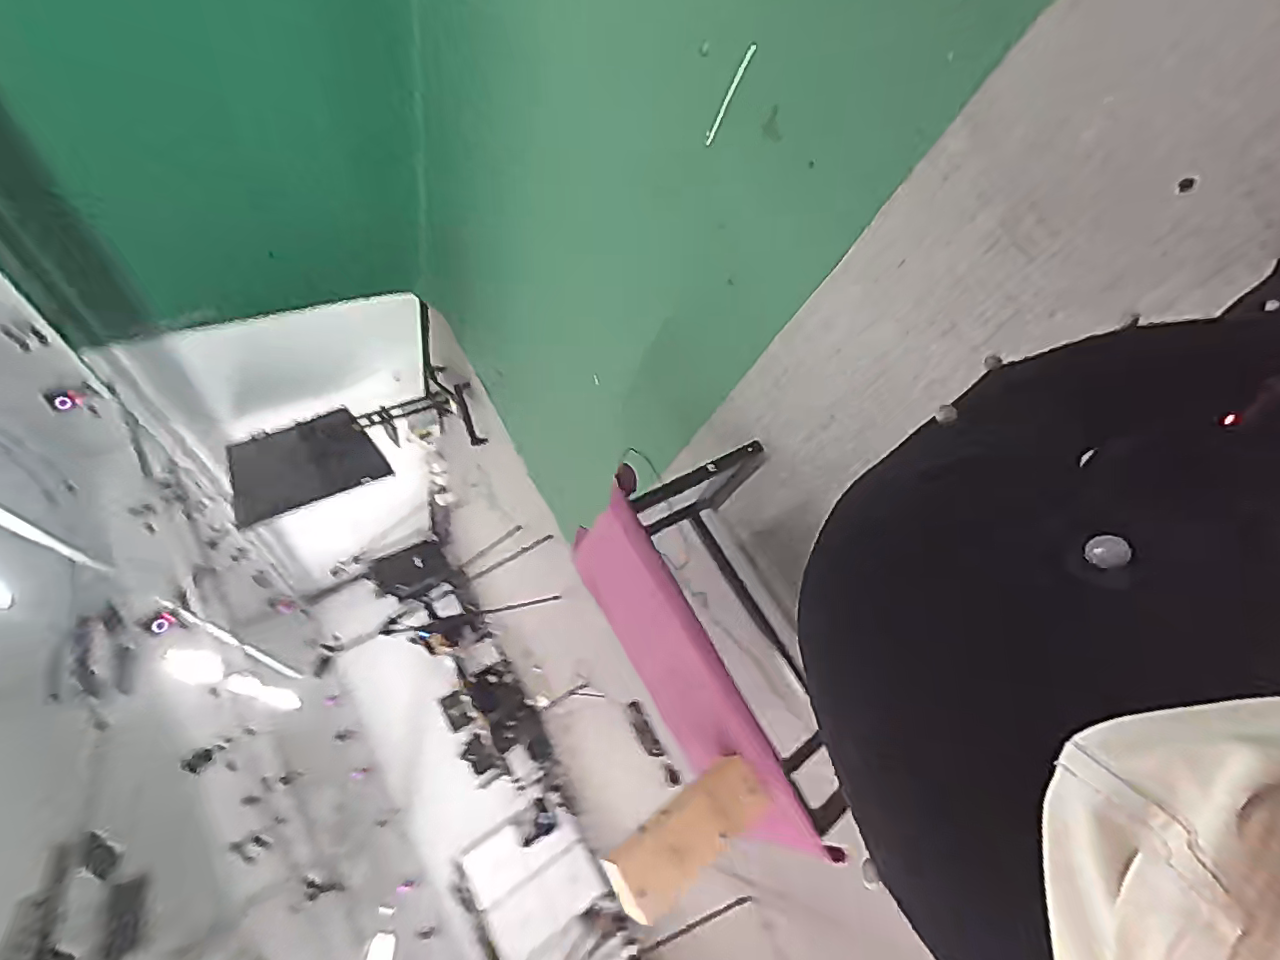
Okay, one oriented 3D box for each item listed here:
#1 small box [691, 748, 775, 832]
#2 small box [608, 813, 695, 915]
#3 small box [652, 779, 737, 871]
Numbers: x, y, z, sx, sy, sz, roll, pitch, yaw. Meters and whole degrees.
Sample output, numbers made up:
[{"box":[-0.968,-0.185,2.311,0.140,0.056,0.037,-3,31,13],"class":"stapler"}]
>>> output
[{"box":[0.297,0.981,1.724,0.168,0.176,0.179,57,150,14],"class":"small box"},{"box":[0.035,1.101,1.570,0.168,0.176,0.179,56,152,15],"class":"small box"},{"box":[0.168,1.037,1.640,0.168,0.176,0.179,57,152,14],"class":"small box"}]
